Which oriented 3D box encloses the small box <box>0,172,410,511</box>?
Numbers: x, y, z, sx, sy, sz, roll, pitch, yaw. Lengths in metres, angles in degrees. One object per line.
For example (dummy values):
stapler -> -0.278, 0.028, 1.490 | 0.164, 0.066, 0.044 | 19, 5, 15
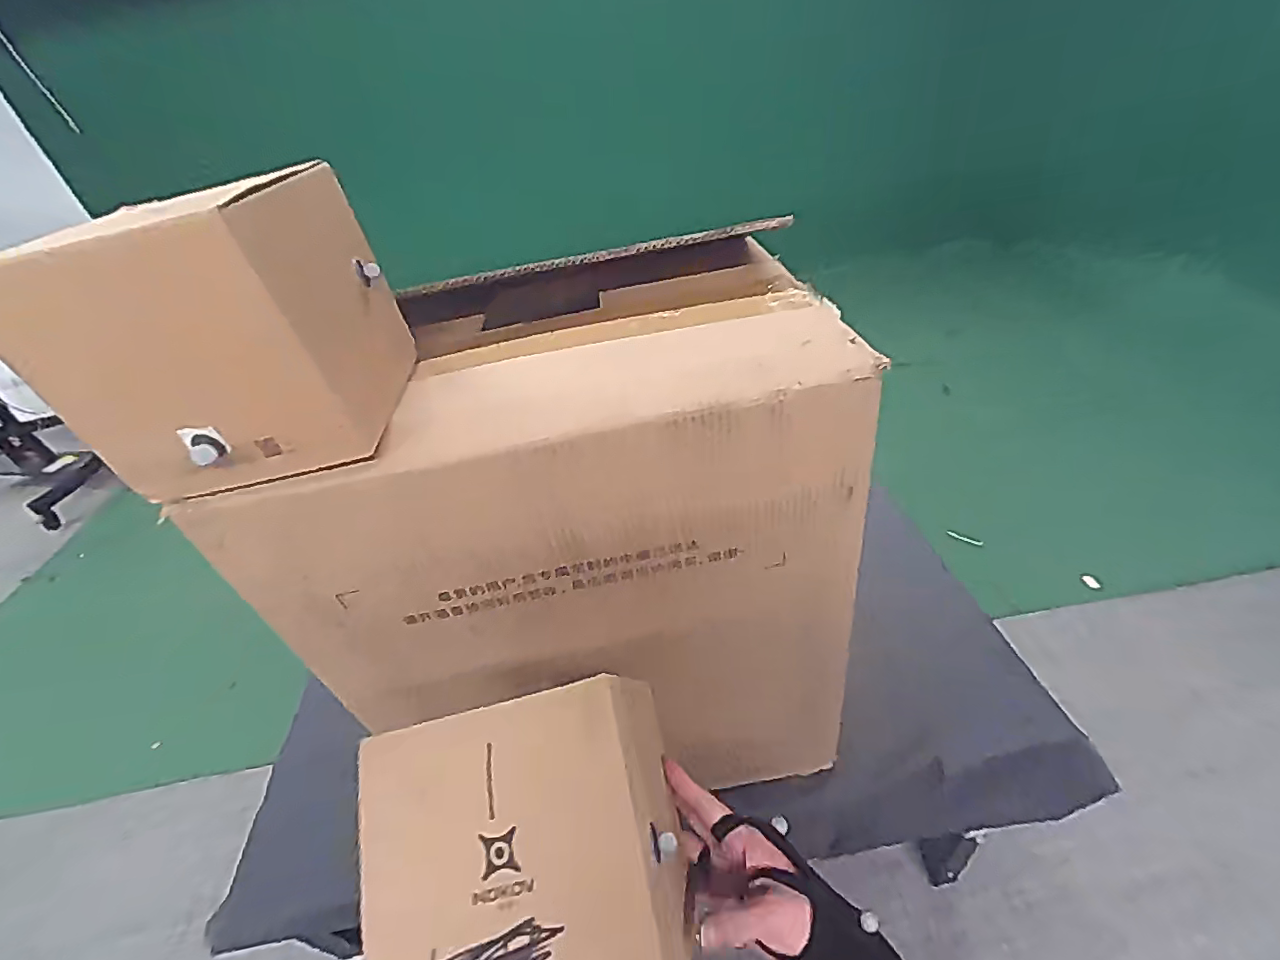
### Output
small box -> -0.293, -0.105, 0.400 | 0.168, 0.176, 0.179 | -15, 39, 0
